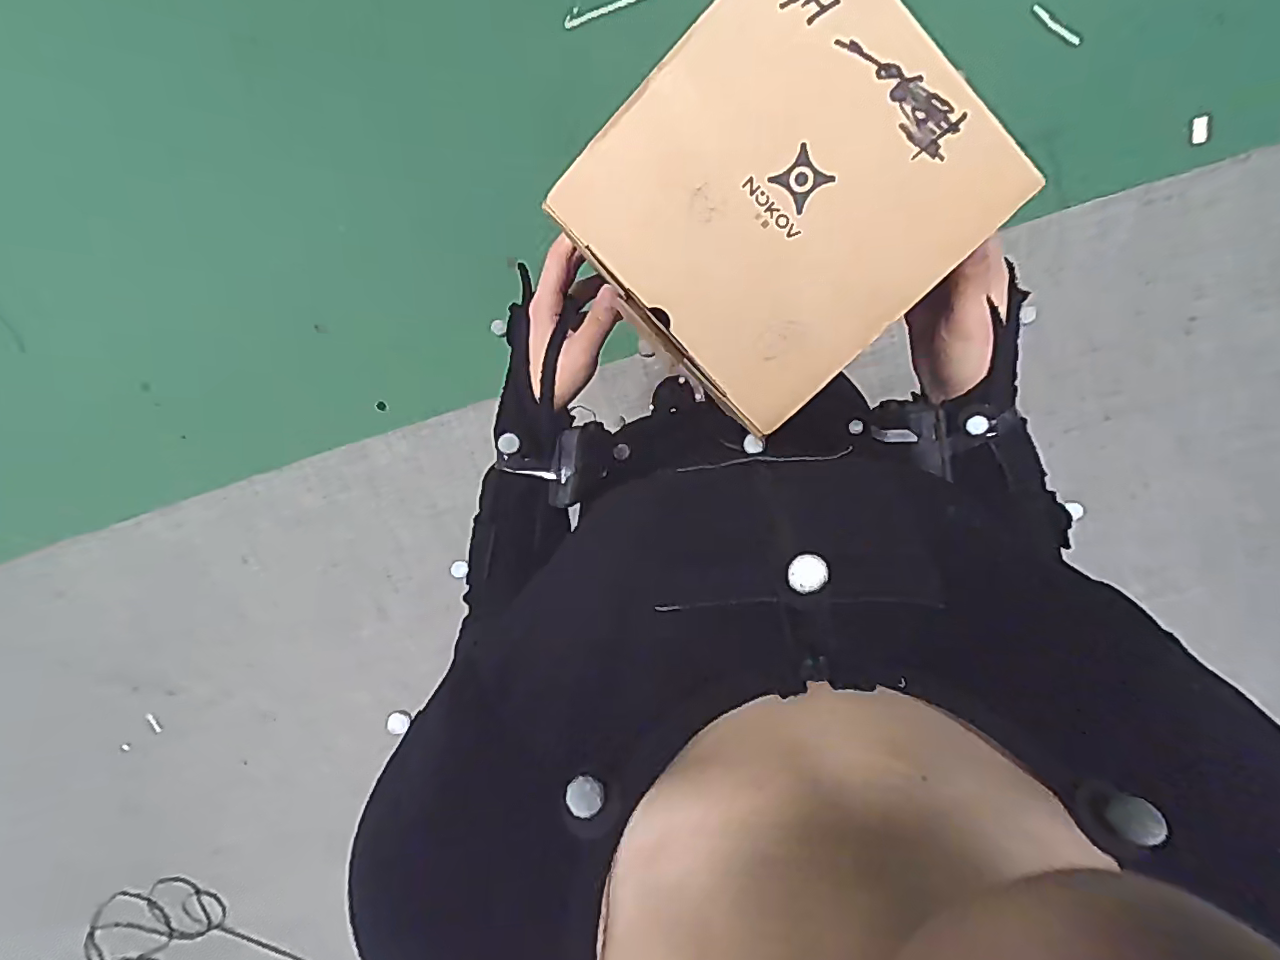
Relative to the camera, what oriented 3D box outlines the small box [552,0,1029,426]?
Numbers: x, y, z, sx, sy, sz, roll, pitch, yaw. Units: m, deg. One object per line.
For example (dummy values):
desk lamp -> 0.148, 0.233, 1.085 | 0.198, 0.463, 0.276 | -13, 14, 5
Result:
small box -> 0.077, -0.157, 0.344 | 0.179, 0.176, 0.168 | -43, 96, 11
